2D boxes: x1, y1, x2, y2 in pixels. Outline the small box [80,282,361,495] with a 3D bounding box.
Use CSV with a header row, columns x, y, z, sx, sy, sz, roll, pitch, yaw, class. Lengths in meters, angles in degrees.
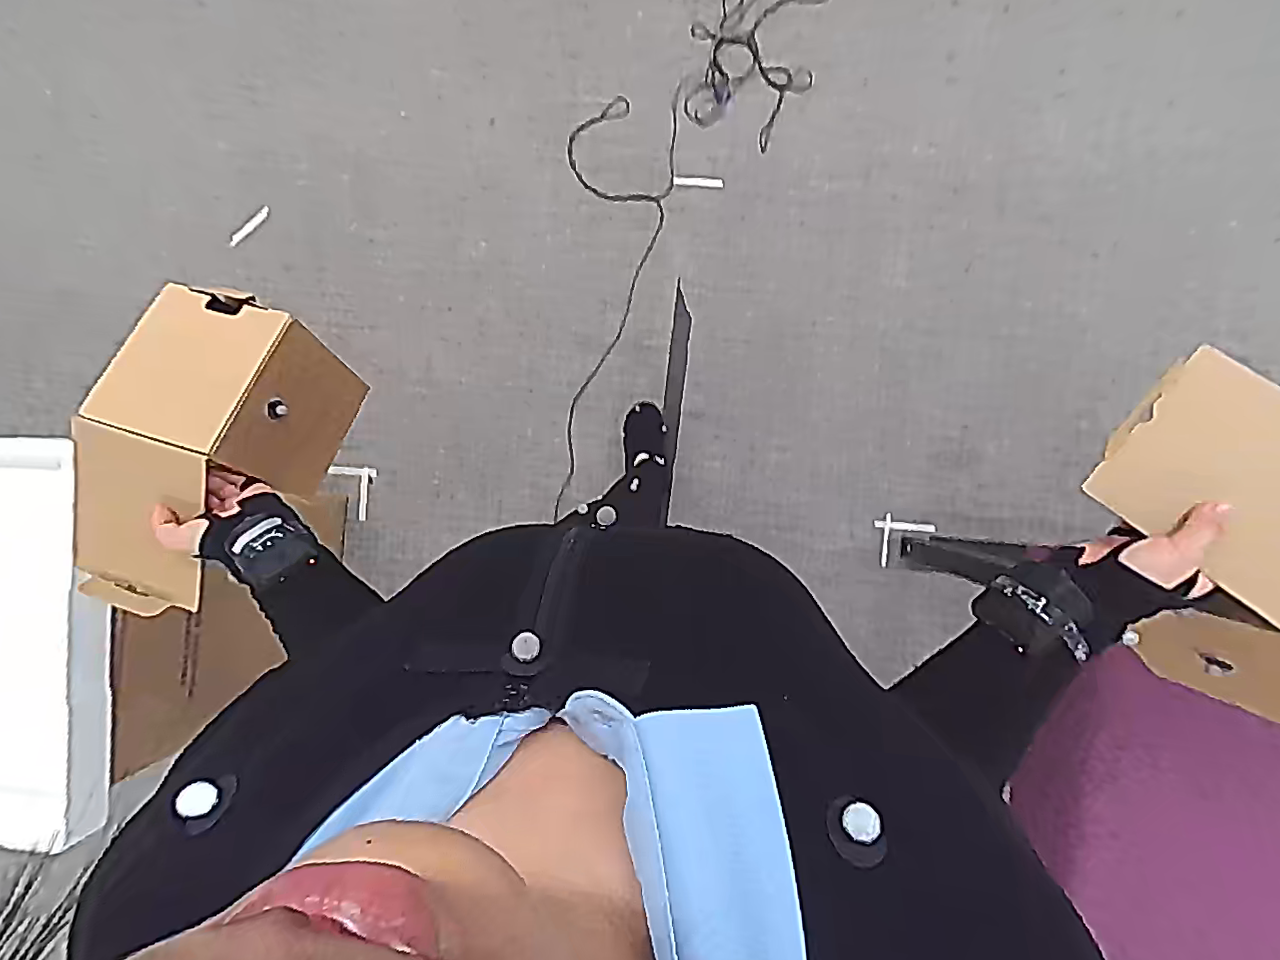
x,y,z,sx,sy,sz,roll,pitch,yaw,class
-0.476,-0.099,0.649,0.168,0.176,0.179,16,71,8,small box
